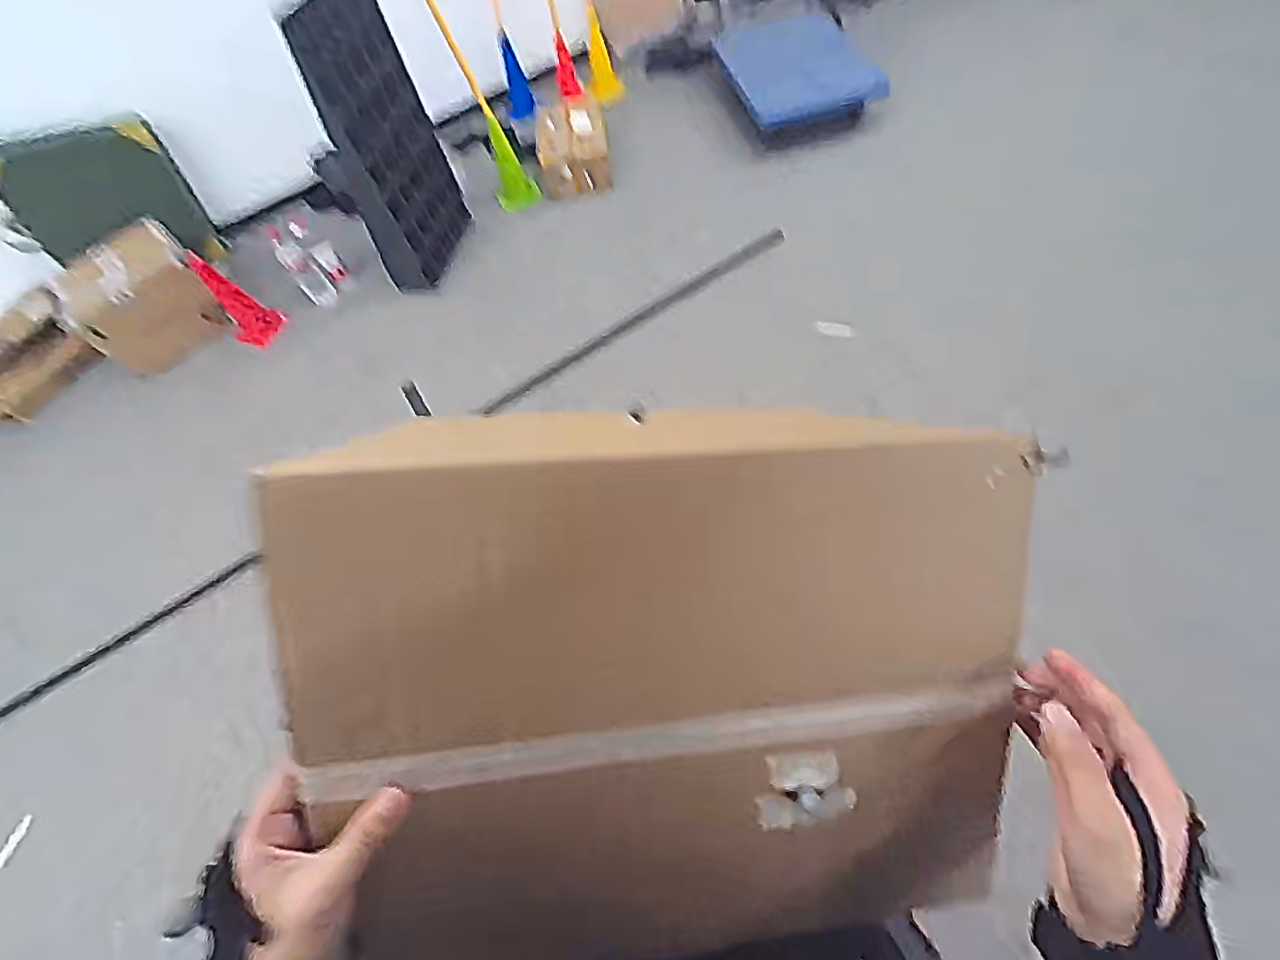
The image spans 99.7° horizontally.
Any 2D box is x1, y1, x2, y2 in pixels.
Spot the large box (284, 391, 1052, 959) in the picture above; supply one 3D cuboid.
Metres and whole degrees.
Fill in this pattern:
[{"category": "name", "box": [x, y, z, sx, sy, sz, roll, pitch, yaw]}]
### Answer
[{"category": "large box", "box": [0.015, 0.091, 0.441, 0.408, 0.320, 0.320, -3, 102, -9]}]
